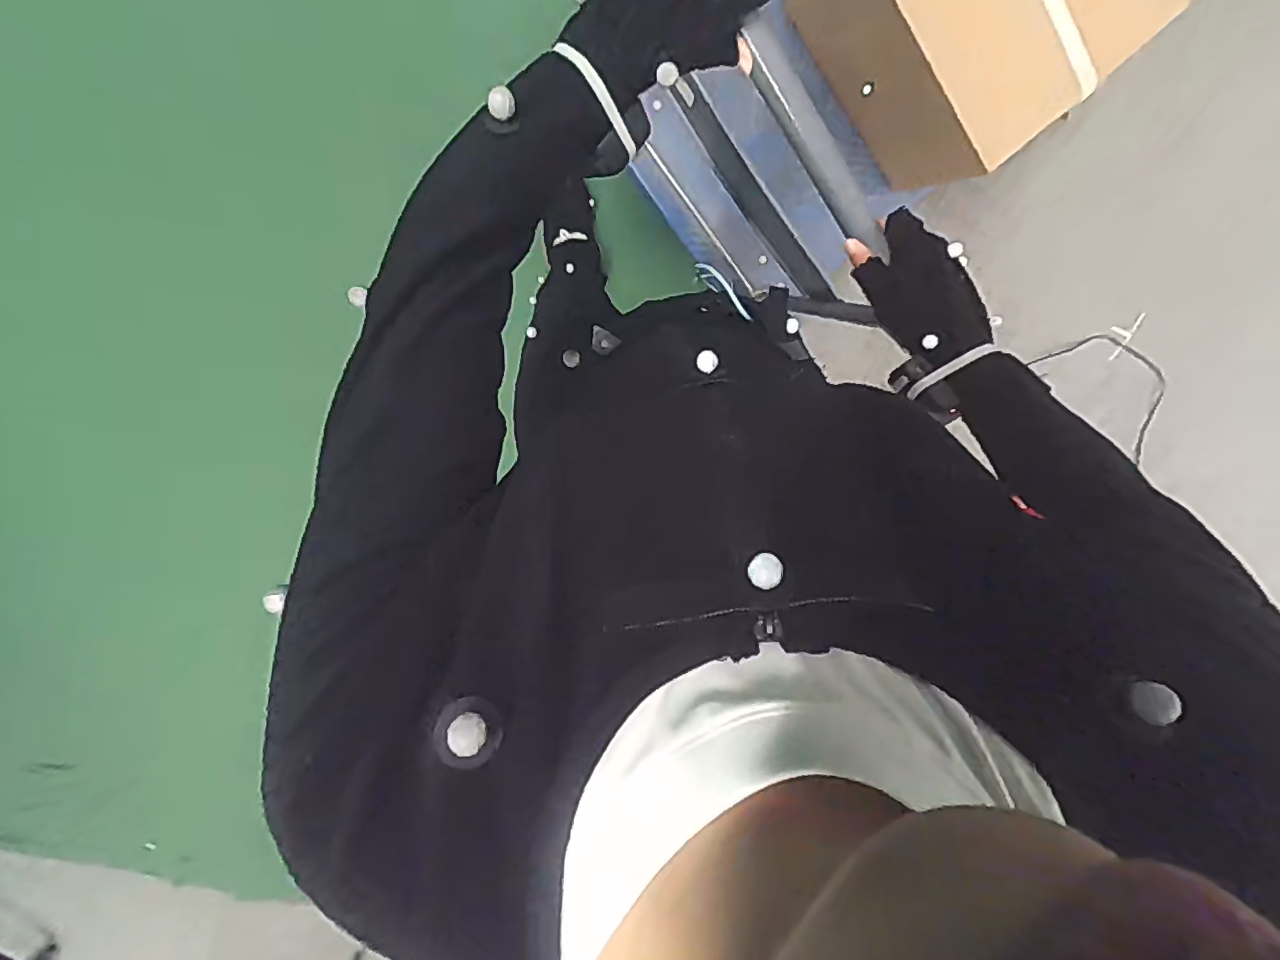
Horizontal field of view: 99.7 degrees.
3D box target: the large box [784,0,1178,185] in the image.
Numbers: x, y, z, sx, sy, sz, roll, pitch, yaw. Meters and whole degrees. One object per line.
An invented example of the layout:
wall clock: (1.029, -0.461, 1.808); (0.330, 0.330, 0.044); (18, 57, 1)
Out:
large box: (0.501, -0.760, 0.860); (0.320, 0.320, 0.408); (-40, 108, 13)
